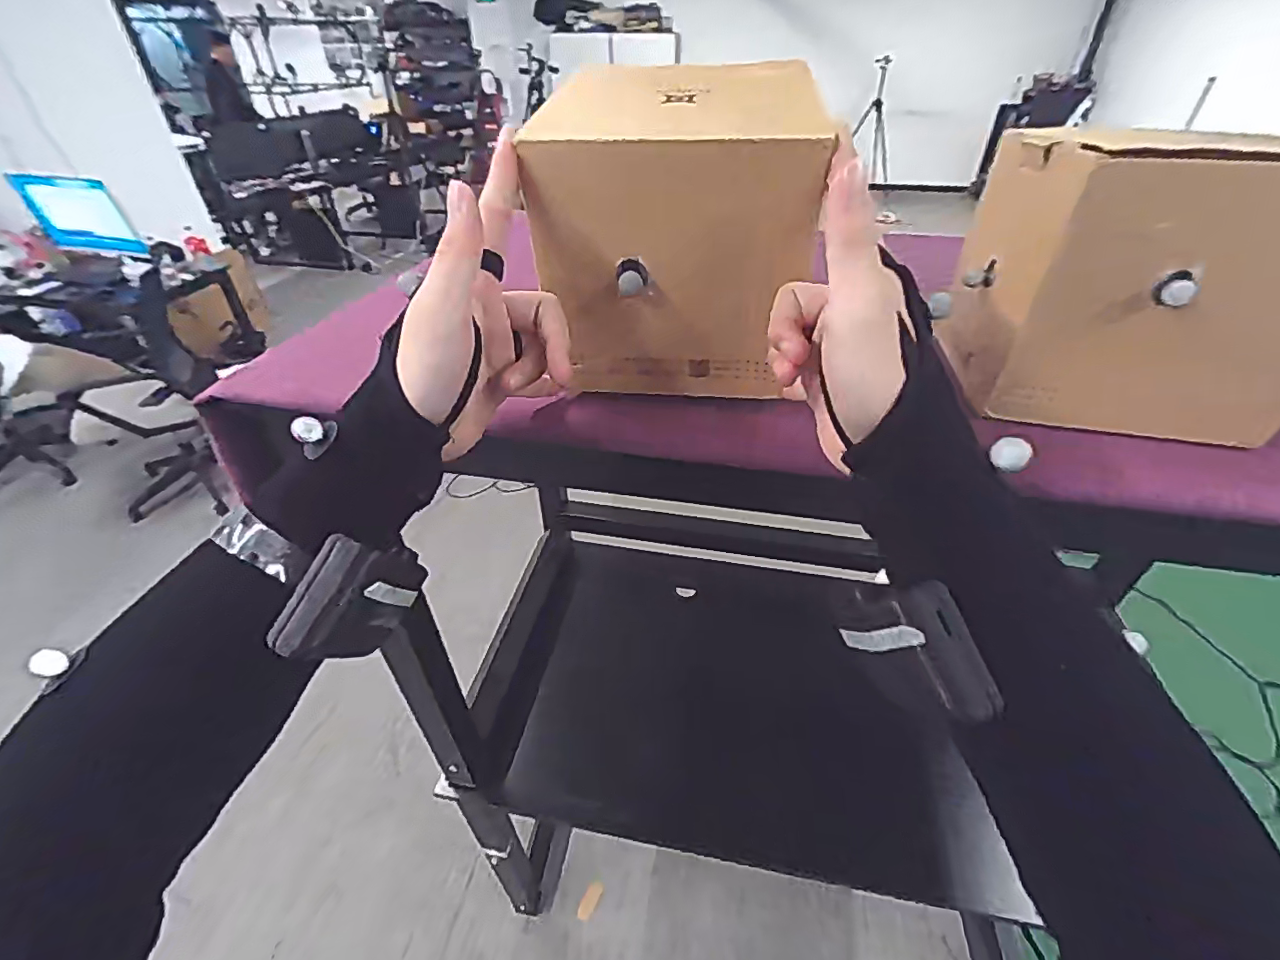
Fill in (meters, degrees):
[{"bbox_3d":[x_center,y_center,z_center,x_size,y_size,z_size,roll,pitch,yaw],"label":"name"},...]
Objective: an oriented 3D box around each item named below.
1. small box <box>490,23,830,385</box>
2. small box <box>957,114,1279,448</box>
[{"bbox_3d":[0.022,-0.182,0.365,0.168,0.176,0.179,5,49,7],"label":"small box"},{"bbox_3d":[0.340,-0.139,0.364,0.179,0.176,0.168,10,39,11],"label":"small box"}]
